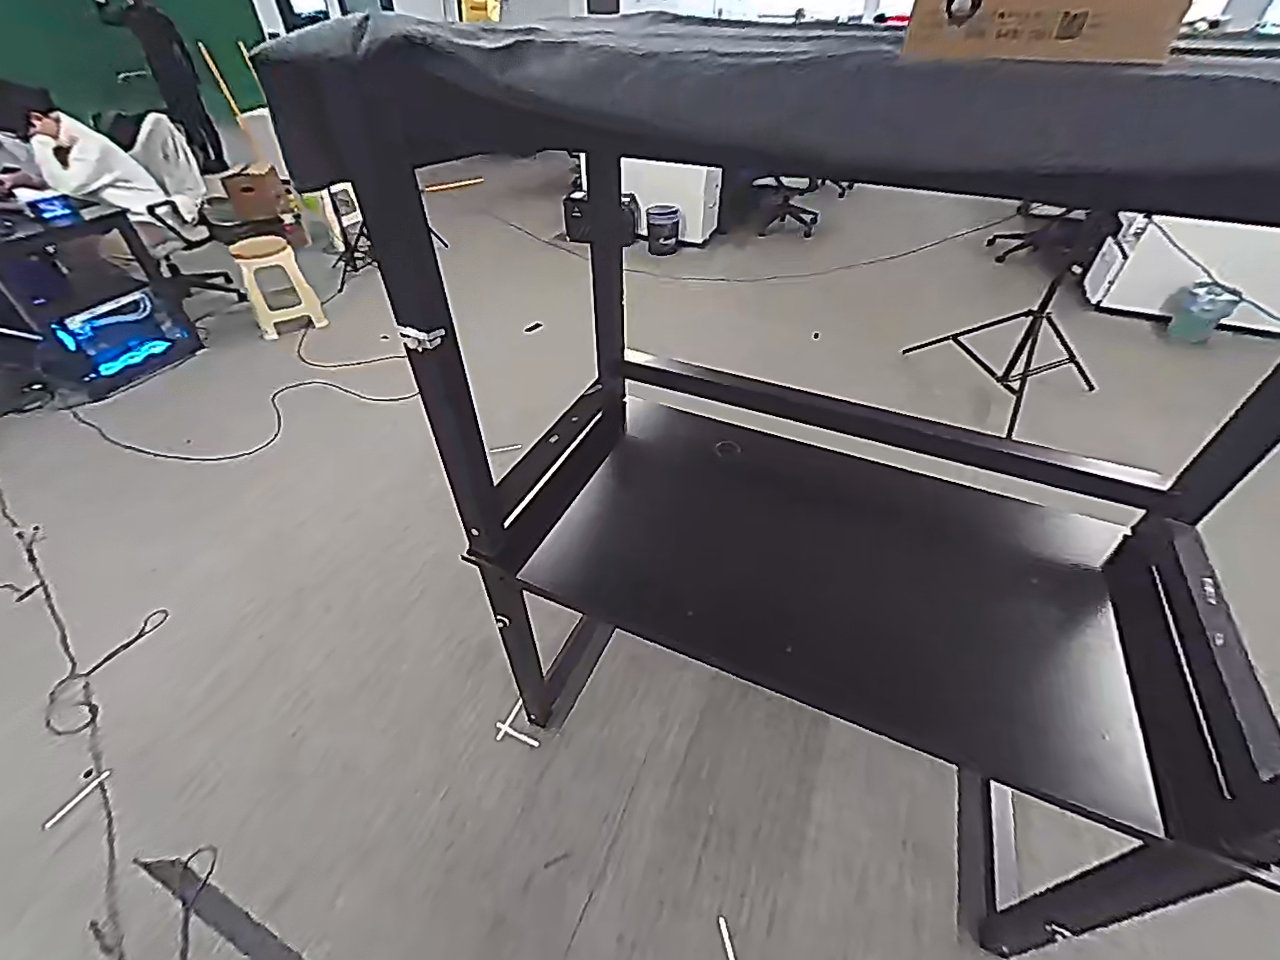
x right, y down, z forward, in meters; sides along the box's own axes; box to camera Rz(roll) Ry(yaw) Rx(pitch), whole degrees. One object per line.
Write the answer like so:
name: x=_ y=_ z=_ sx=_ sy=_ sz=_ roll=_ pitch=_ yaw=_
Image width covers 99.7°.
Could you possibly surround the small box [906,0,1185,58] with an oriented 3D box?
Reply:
small box: x=0.305 y=-0.411 z=0.386 sx=0.168 sy=0.176 sz=0.179 roll=17 pitch=43 yaw=18
